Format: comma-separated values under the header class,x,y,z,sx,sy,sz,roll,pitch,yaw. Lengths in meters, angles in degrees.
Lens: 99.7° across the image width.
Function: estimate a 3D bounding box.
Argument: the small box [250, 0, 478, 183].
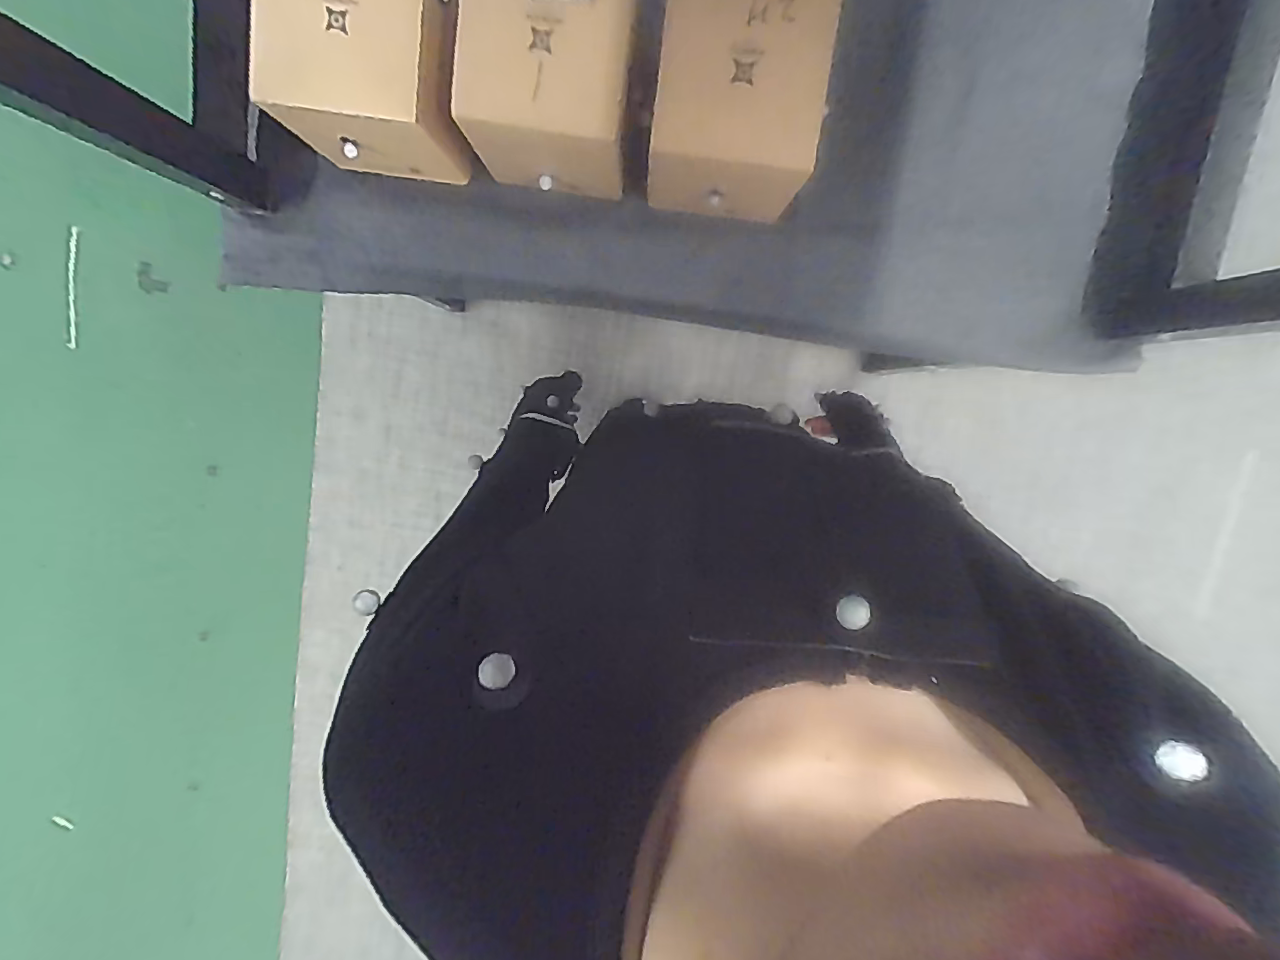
class,x,y,z,sx,sy,sz,roll,pitch,yaw
small box,-0.287,-0.454,0.594,0.168,0.176,0.179,7,98,-1
